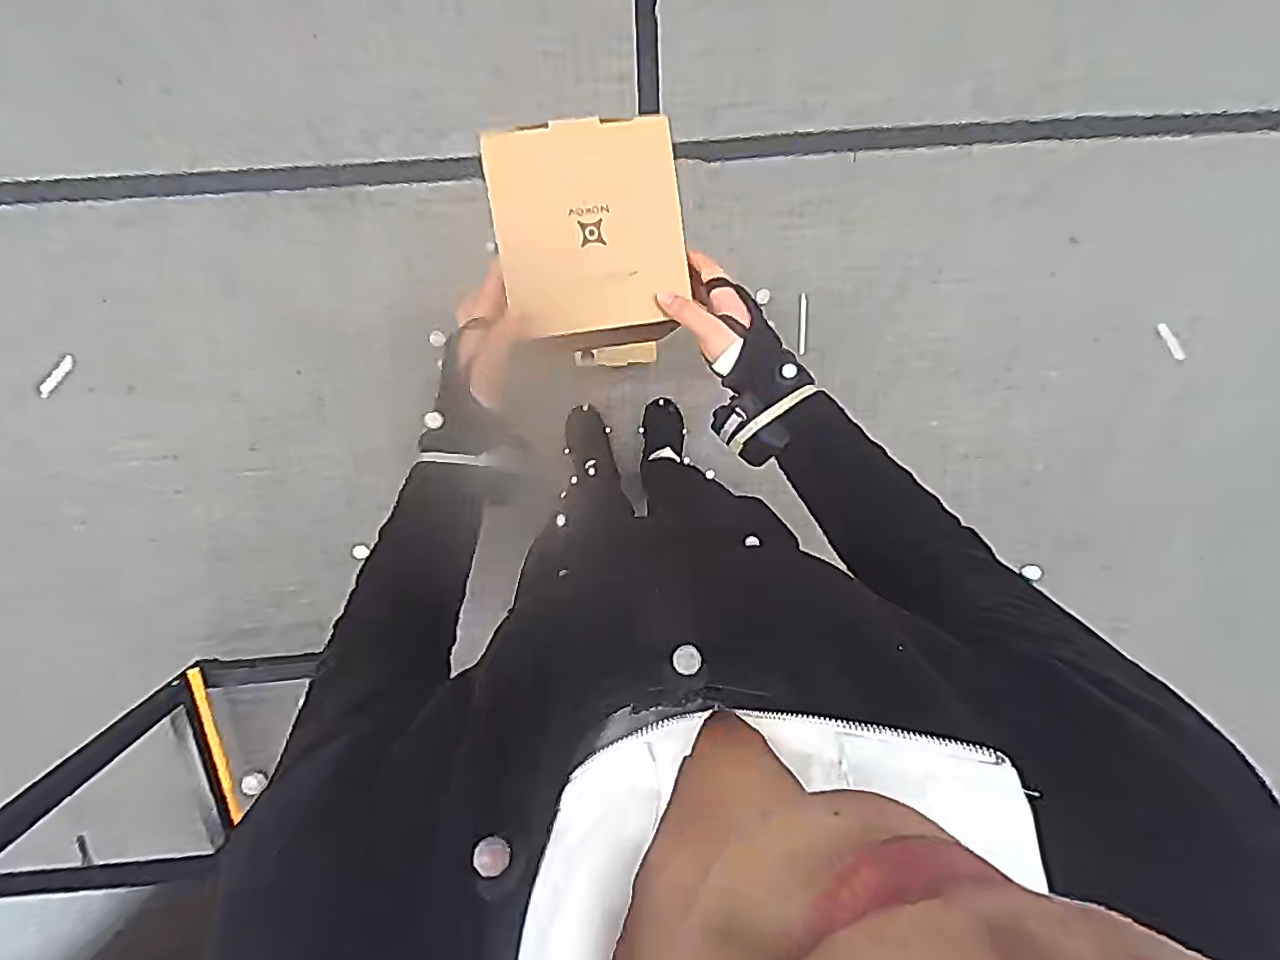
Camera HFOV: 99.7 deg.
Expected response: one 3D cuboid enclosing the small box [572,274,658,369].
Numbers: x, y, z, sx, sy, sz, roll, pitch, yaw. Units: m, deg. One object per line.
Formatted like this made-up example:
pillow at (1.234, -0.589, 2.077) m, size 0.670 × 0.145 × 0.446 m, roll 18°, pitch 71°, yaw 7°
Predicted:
small box at (-0.053, -0.328, 1.137) m, size 0.168 × 0.176 × 0.179 m, roll -4°, pitch 105°, yaw -2°
